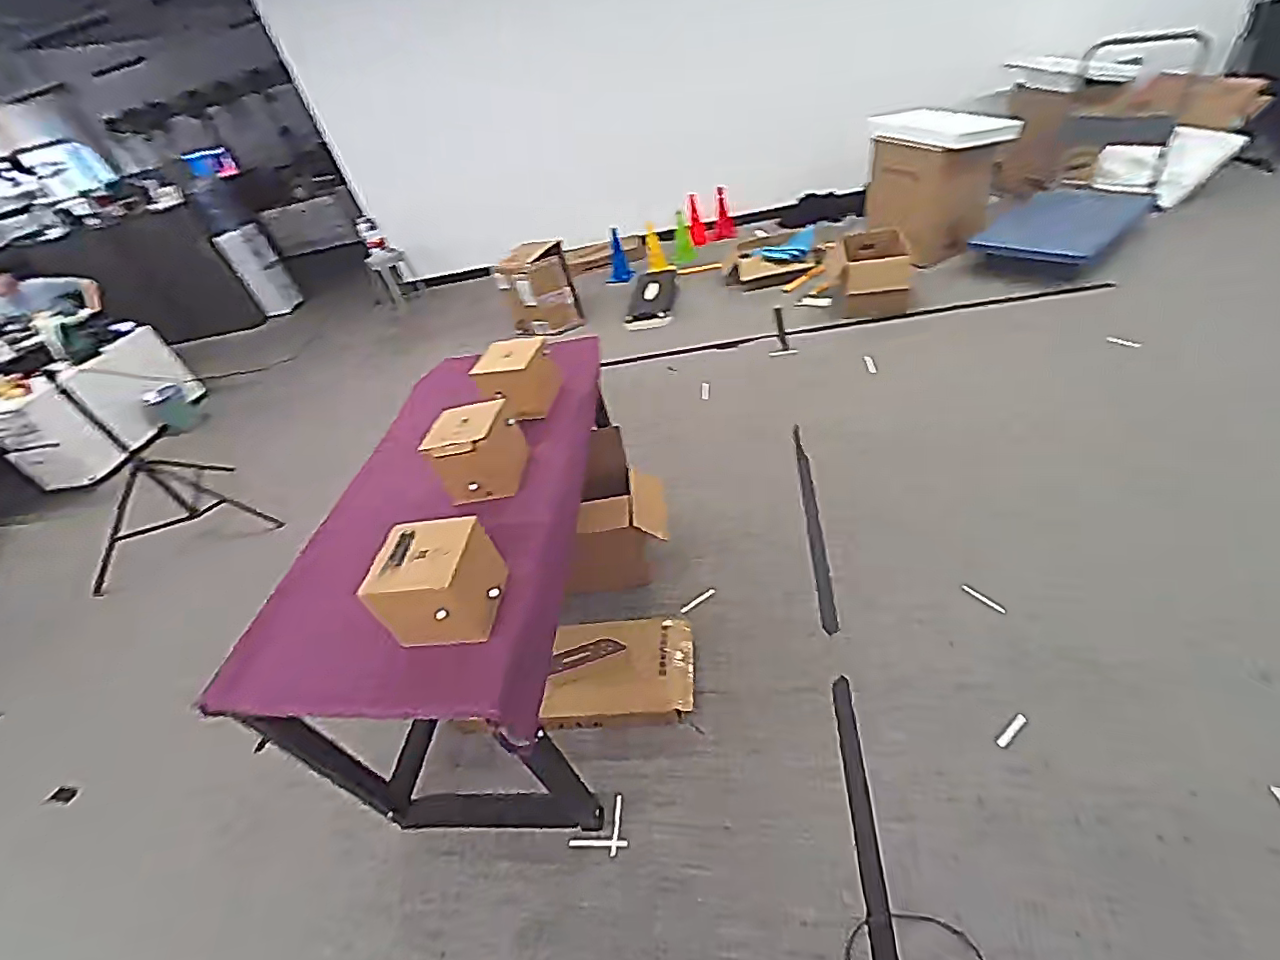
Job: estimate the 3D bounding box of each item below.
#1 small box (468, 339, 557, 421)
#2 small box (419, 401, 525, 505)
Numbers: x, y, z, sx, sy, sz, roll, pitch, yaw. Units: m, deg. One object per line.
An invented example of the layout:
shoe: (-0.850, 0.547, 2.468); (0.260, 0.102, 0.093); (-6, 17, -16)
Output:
small box: (-0.354, -0.277, 1.541); (0.168, 0.176, 0.179); (-3, 42, 16)
small box: (-0.394, -0.063, 1.309); (0.168, 0.176, 0.179); (-10, 41, 12)
